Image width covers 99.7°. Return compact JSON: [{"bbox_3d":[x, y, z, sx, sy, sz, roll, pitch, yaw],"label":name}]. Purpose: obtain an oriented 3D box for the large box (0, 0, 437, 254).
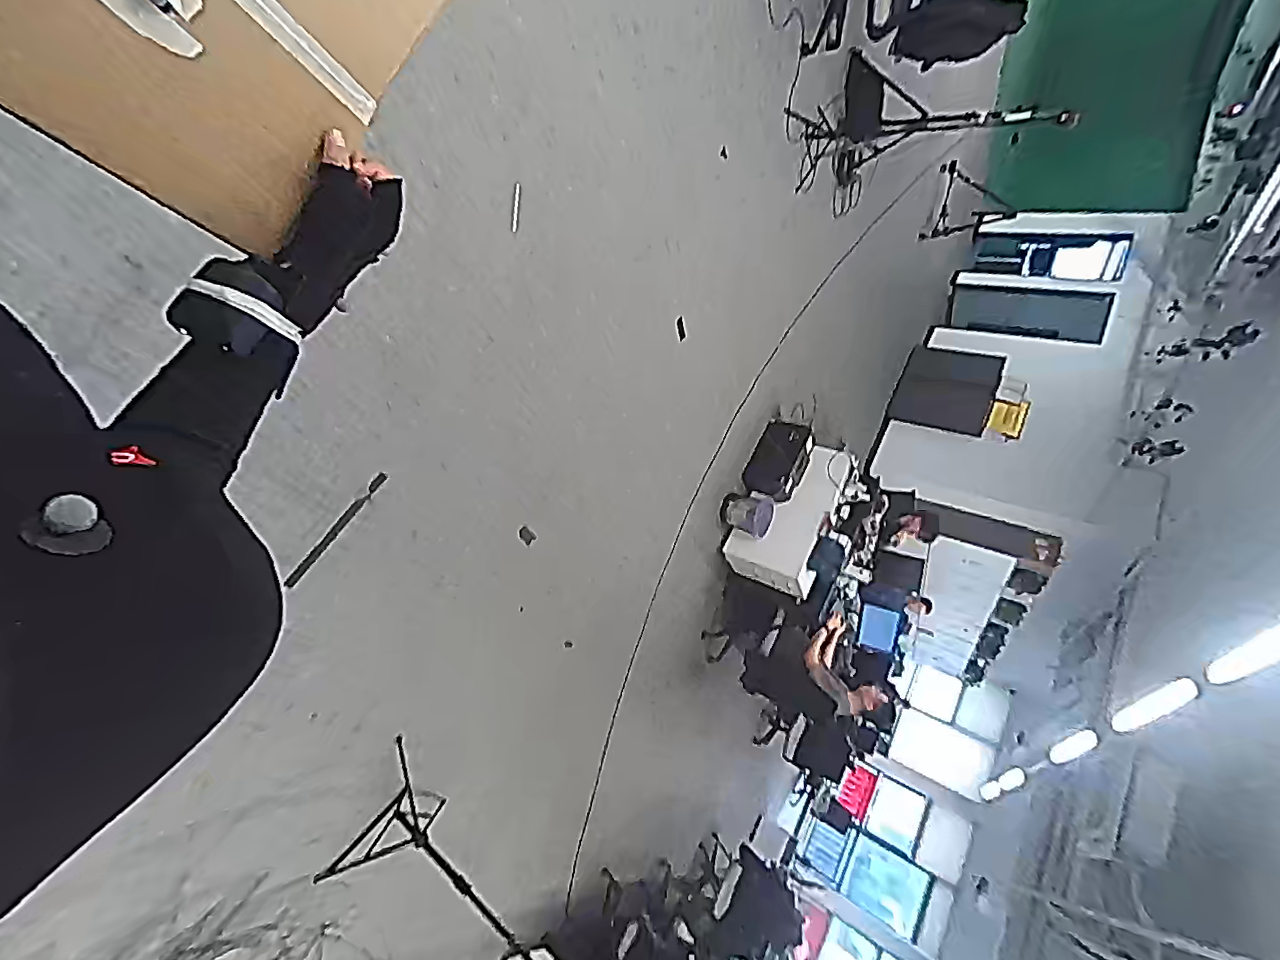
[{"bbox_3d":[-0.438,-0.444,0.384,0.320,0.320,0.408,-57,148,0],"label":"large box"}]
